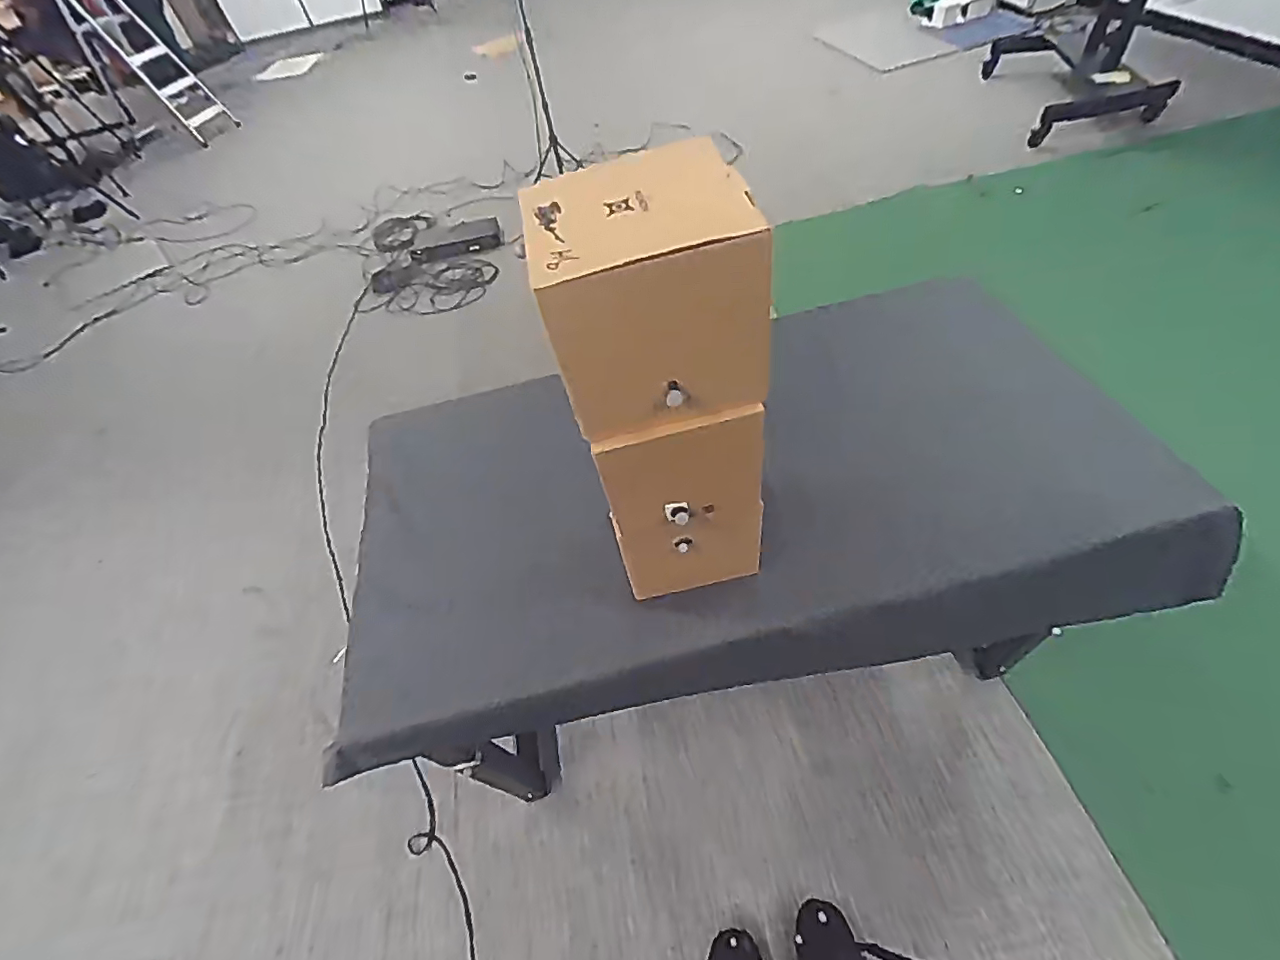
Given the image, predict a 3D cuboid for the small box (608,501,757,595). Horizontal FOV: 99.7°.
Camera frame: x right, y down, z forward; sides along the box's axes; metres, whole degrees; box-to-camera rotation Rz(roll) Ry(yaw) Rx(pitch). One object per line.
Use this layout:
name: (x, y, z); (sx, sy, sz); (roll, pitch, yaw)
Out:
small box: (0.054, 0.039, 0.740); (0.179, 0.176, 0.168); (-12, 52, 0)

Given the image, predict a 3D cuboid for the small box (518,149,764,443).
small box: (0.001, -0.159, 0.488); (0.179, 0.176, 0.168); (-14, 51, 1)

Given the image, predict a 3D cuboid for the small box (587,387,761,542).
small box: (0.030, -0.057, 0.613); (0.168, 0.176, 0.179); (-15, 52, 1)
